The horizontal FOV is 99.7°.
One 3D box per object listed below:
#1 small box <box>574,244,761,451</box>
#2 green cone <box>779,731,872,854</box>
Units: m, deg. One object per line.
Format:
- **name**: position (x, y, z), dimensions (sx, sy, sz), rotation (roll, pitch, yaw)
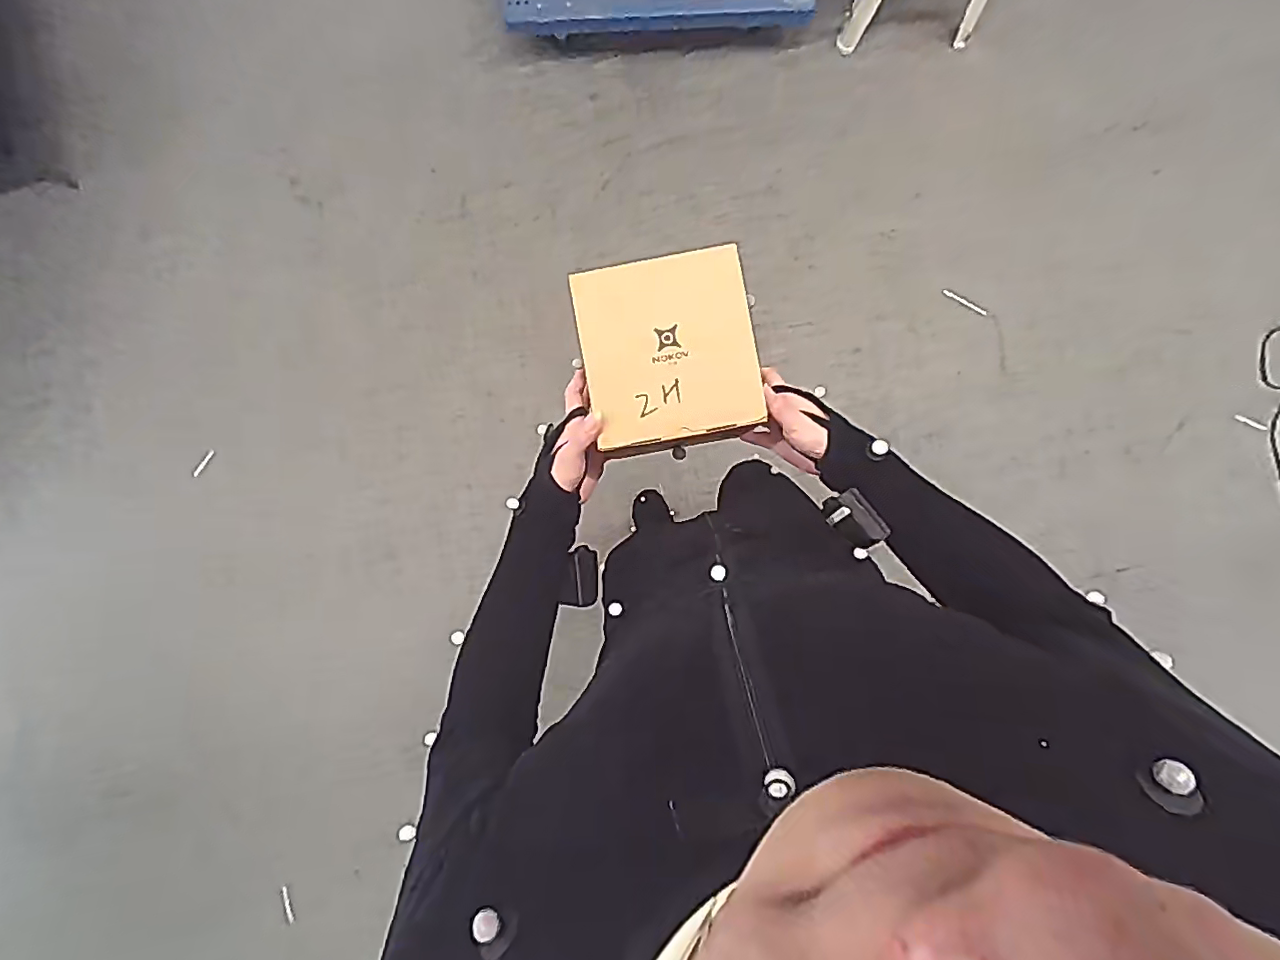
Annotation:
- **small box**: position (0.027, -0.133, 0.606), dimensions (0.168, 0.176, 0.179), rotation (-9, 90, 2)
- **green cone**: position (0.523, 0.863, 1.444), dimensions (0.202, 0.368, 0.200), rotation (-12, 90, 1)
